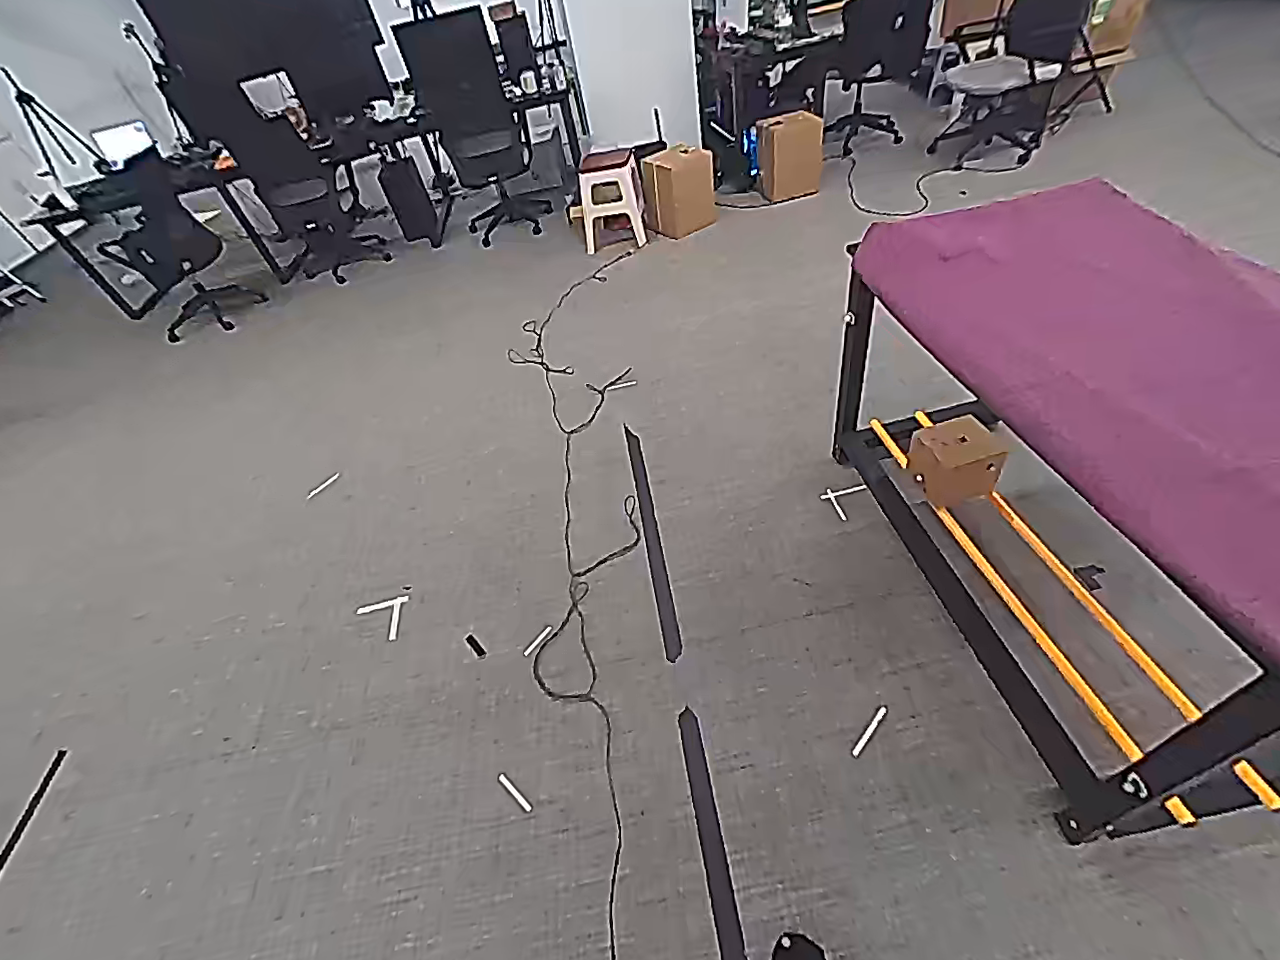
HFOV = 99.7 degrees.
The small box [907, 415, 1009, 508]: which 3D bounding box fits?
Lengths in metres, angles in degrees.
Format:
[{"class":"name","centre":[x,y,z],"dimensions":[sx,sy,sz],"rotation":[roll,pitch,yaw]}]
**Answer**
[{"class":"small box","centre":[0.886,-0.050,1.527],"dimensions":[0.179,0.176,0.168],"rotation":[-17,45,0]}]
